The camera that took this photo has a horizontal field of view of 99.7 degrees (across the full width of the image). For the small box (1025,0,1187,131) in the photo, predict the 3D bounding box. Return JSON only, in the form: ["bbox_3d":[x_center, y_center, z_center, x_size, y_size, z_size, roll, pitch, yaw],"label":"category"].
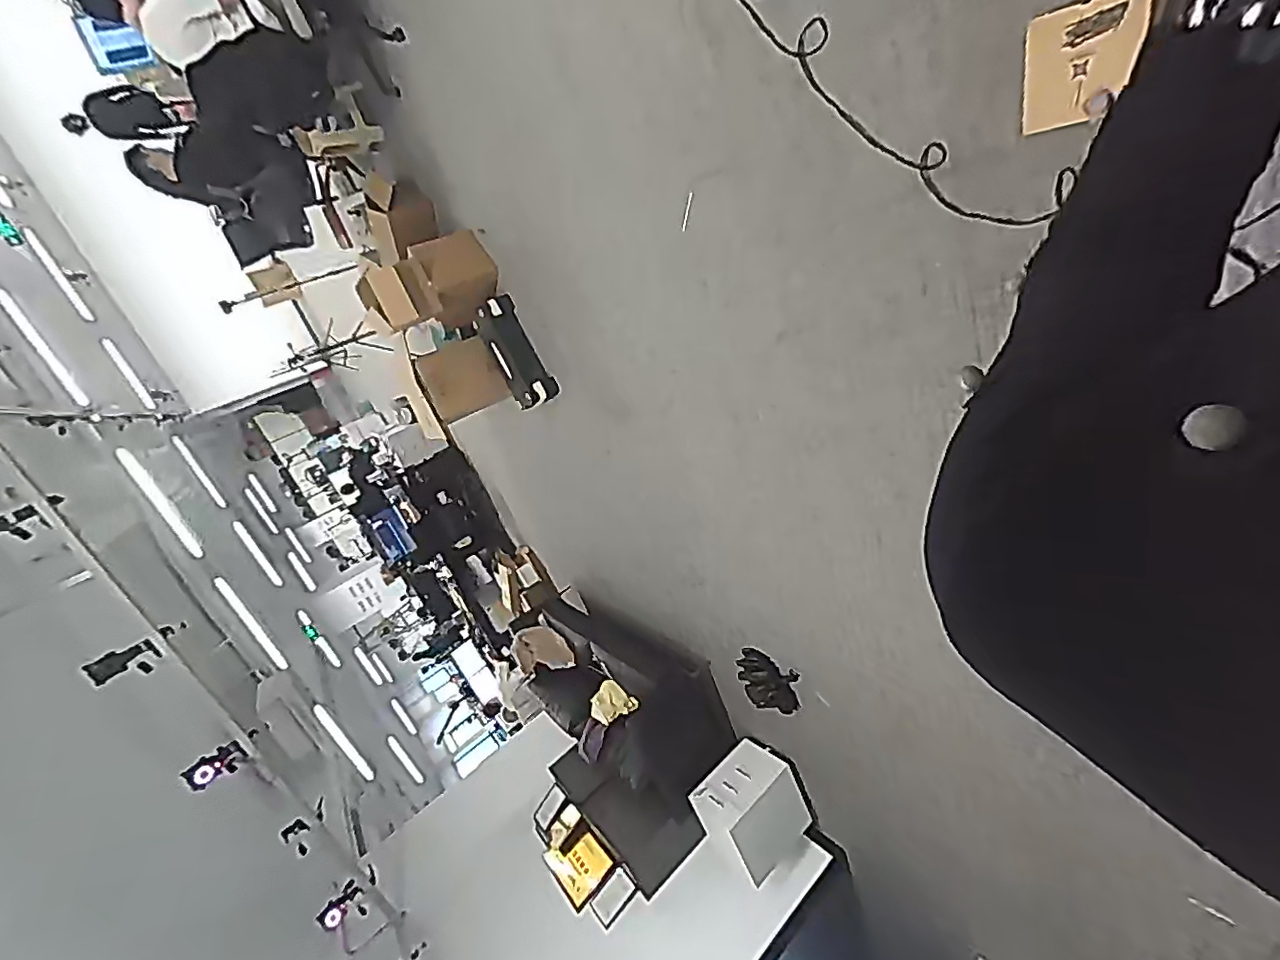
[{"bbox_3d":[0.788,-0.727,0.919,0.168,0.176,0.179,21,137,50],"label":"small box"}]
